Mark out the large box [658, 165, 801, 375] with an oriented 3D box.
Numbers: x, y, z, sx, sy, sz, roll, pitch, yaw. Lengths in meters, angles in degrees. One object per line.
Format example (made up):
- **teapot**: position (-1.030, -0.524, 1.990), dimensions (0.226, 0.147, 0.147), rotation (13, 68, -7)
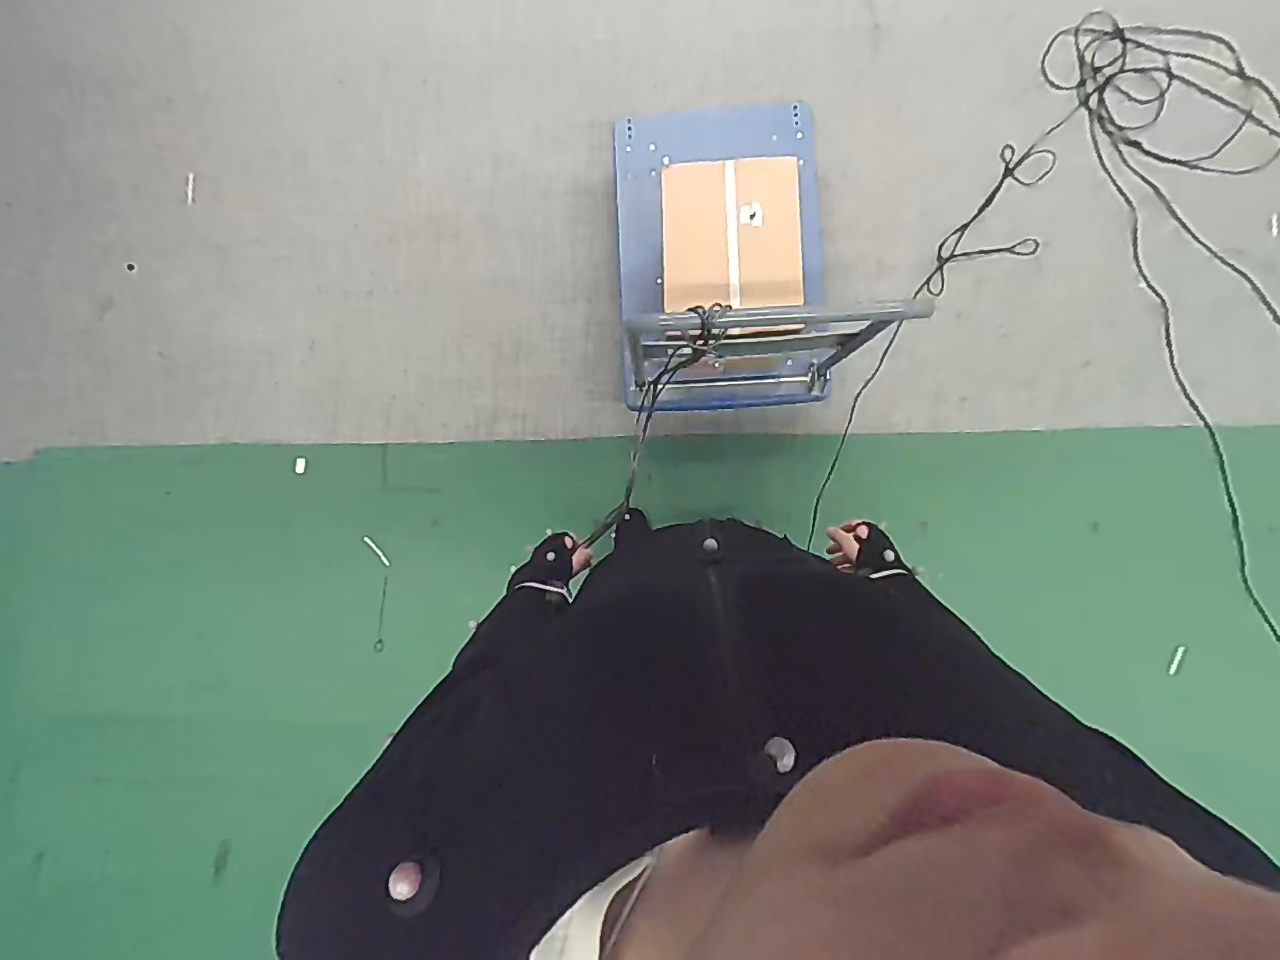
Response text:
- **large box**: position (0.211, -0.510, 1.384), dimensions (0.320, 0.320, 0.408), rotation (-1, 84, 2)
